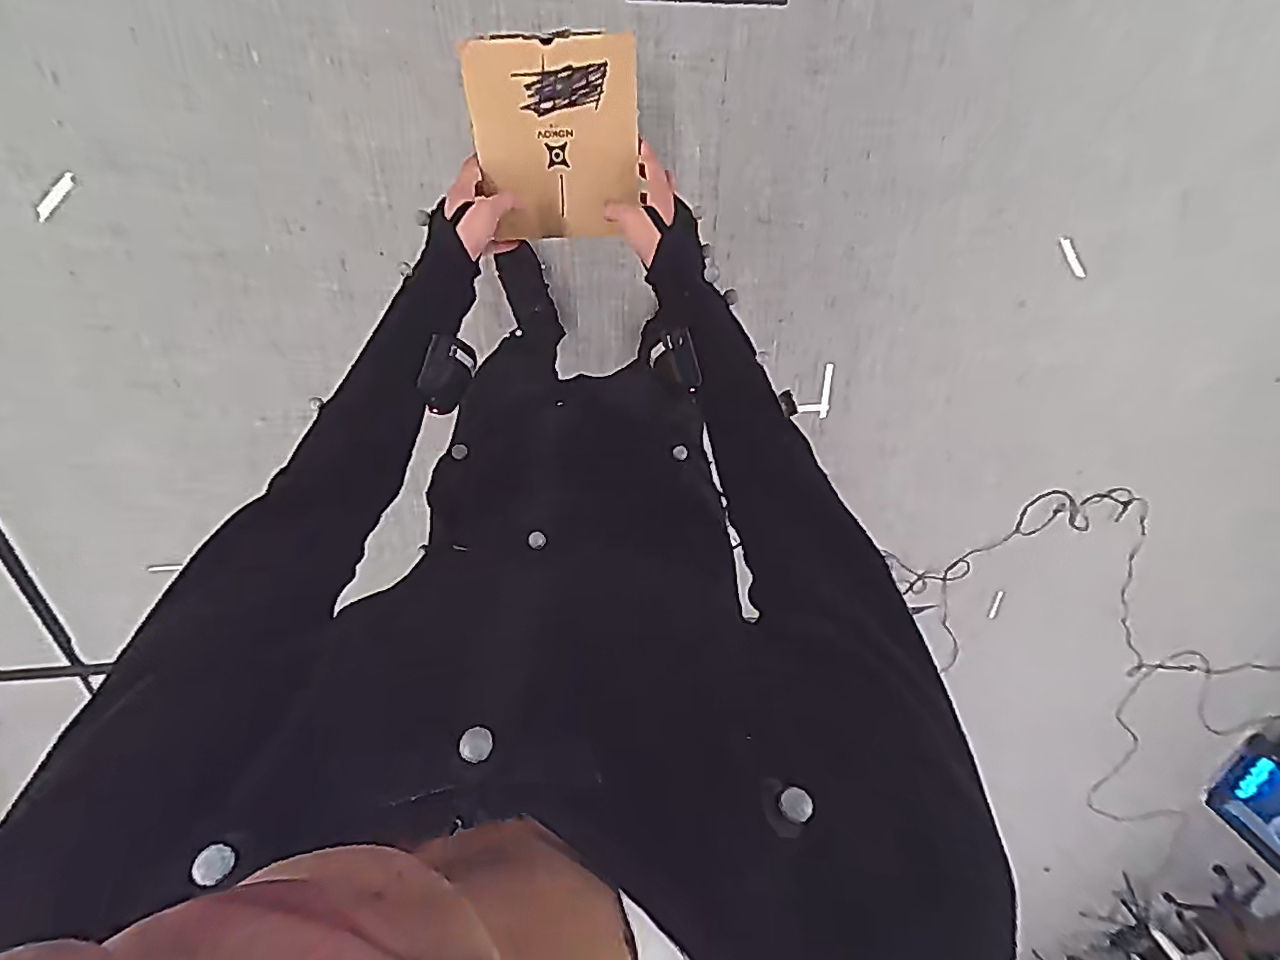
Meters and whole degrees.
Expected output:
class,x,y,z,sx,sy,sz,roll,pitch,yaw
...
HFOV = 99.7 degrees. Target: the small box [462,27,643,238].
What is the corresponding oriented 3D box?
class,x,y,z,sx,sy,sz,roll,pitch,yaw
small box,-0.083,-0.384,0.605,0.168,0.176,0.179,-2,127,0
